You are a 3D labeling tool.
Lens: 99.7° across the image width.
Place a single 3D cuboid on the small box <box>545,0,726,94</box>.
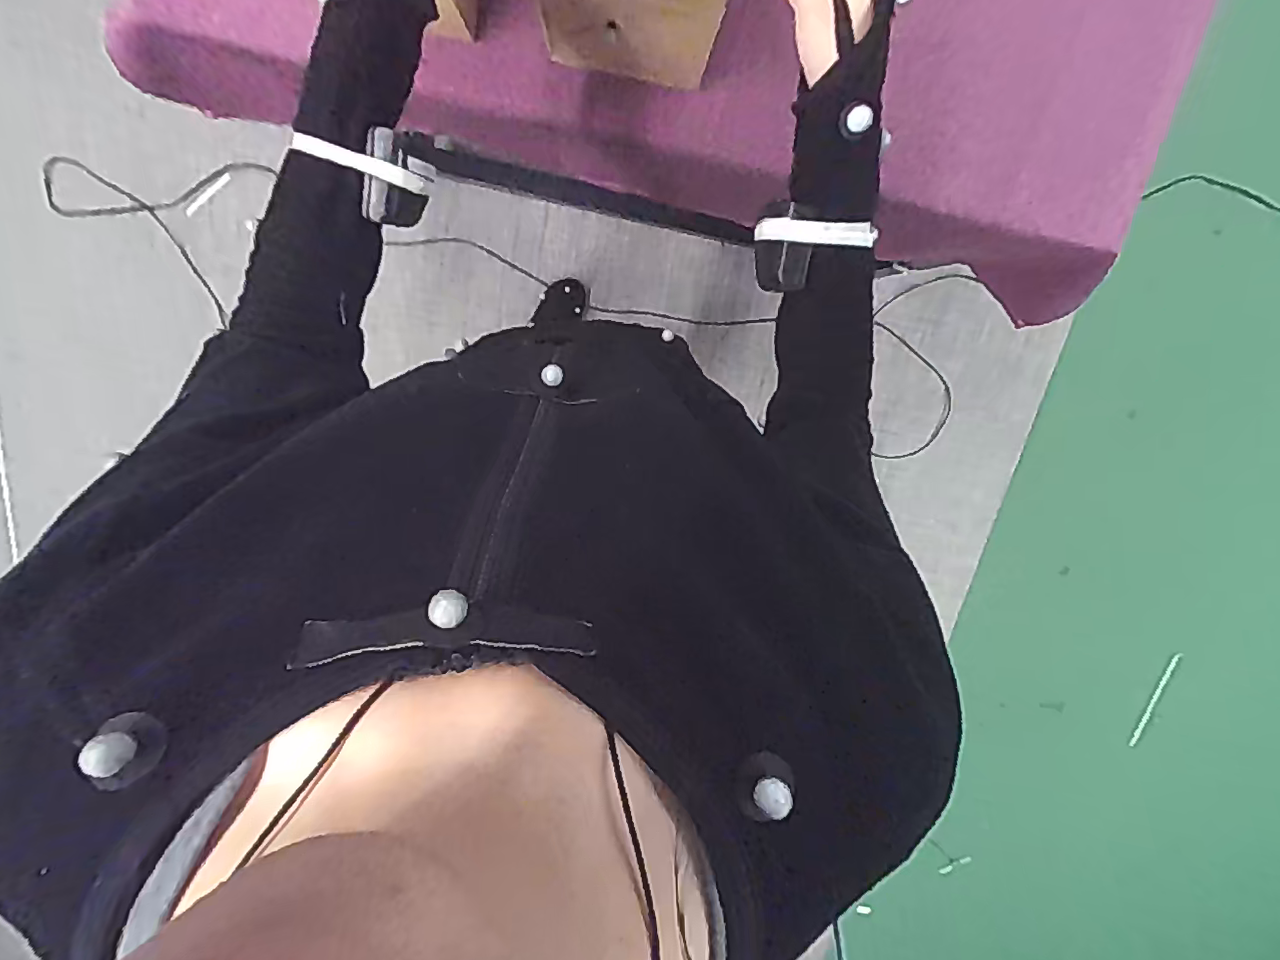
[{"bbox_3d":[0.001,-0.518,0.532,0.179,0.176,0.168,9,105,-4],"label":"small box"}]
